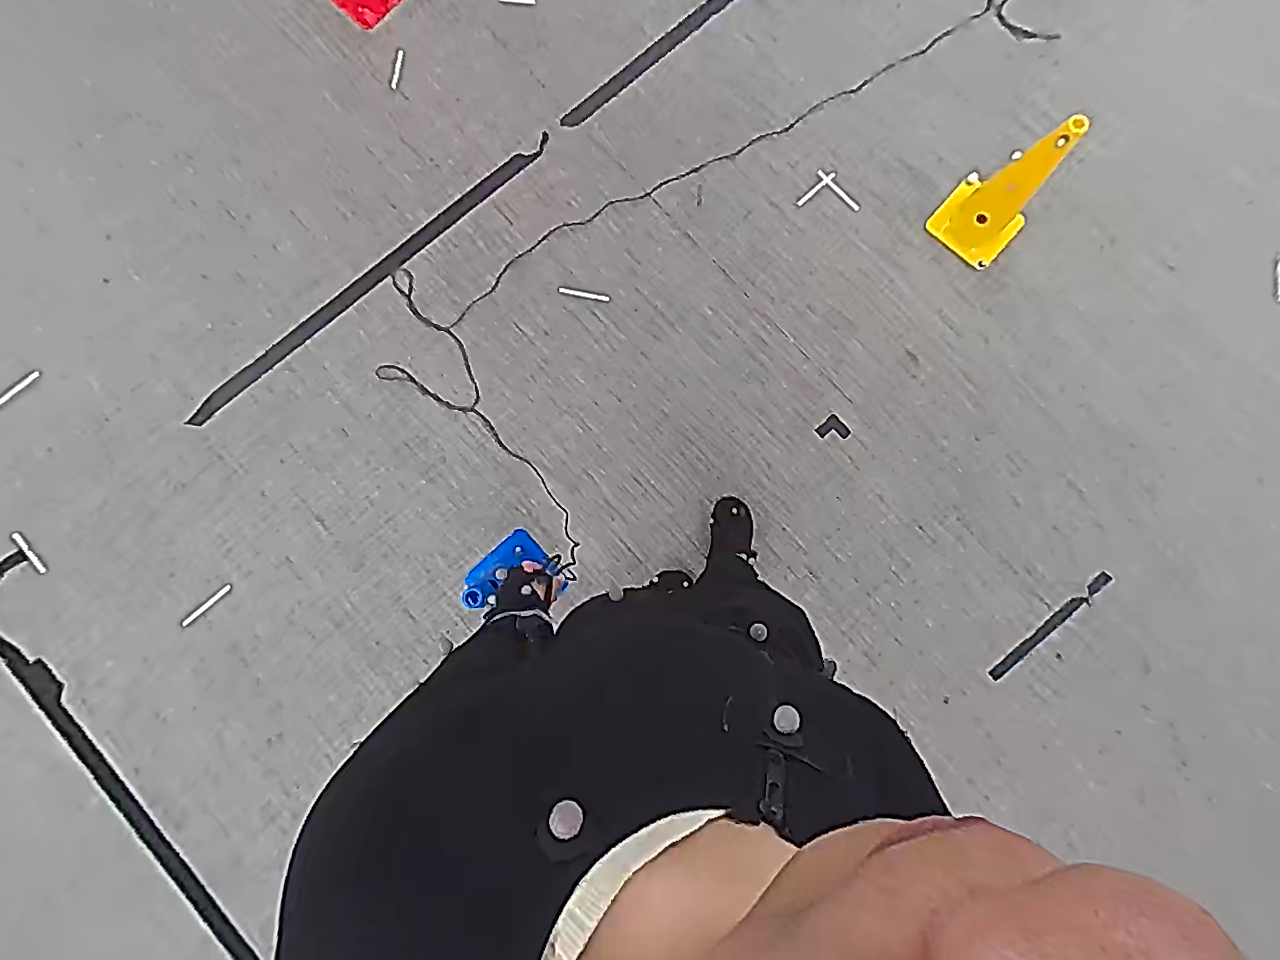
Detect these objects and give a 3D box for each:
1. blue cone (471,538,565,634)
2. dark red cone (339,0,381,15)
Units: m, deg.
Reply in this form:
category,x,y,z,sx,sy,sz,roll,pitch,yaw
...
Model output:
category,x,y,z,sx,sy,sz,roll,pitch,yaw
blue cone,-0.308,0.250,1.202,0.193,0.380,0.192,-41,86,-3
dark red cone,-0.789,-1.436,1.357,0.201,0.394,0.202,41,86,3
